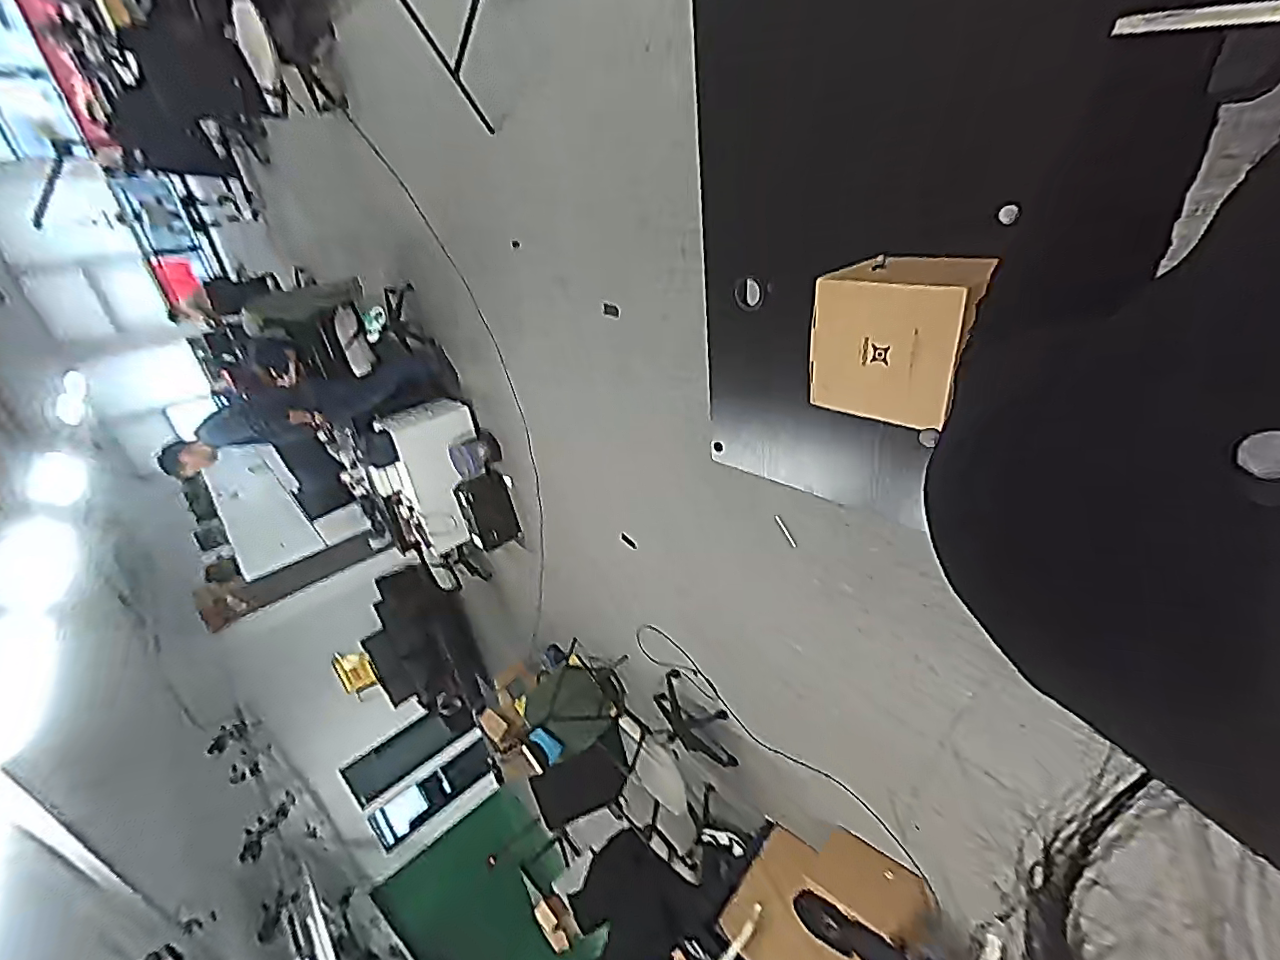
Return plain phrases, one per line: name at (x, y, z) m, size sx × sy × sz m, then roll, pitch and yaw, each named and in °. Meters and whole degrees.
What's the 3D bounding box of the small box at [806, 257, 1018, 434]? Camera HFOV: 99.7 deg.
small box at (0.335, -0.178, 0.682) m, size 0.179 × 0.176 × 0.168 m, roll 23°, pitch 132°, yaw 43°
